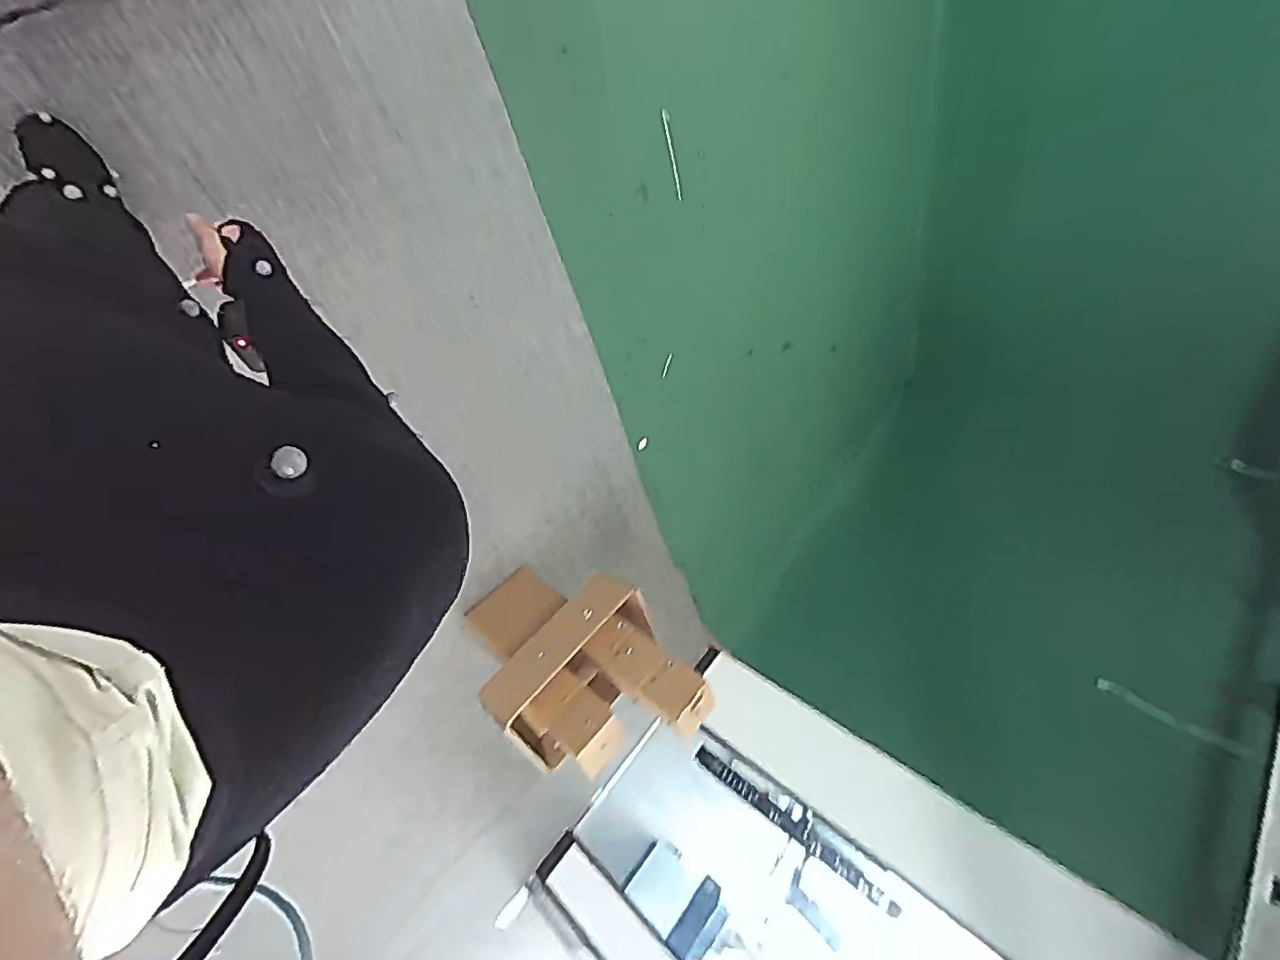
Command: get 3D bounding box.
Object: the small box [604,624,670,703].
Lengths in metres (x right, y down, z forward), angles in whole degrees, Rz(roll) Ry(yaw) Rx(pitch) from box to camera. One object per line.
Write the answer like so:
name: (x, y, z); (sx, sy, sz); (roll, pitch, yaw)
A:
small box: (0.003, 0.637, 1.894); (0.168, 0.176, 0.179); (-44, 137, -25)

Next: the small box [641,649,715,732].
small box: (0.124, 0.693, 1.798); (0.168, 0.176, 0.179); (-44, 138, -24)

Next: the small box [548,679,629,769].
small box: (-0.170, 0.798, 1.785); (0.179, 0.176, 0.168); (-42, 134, -26)
